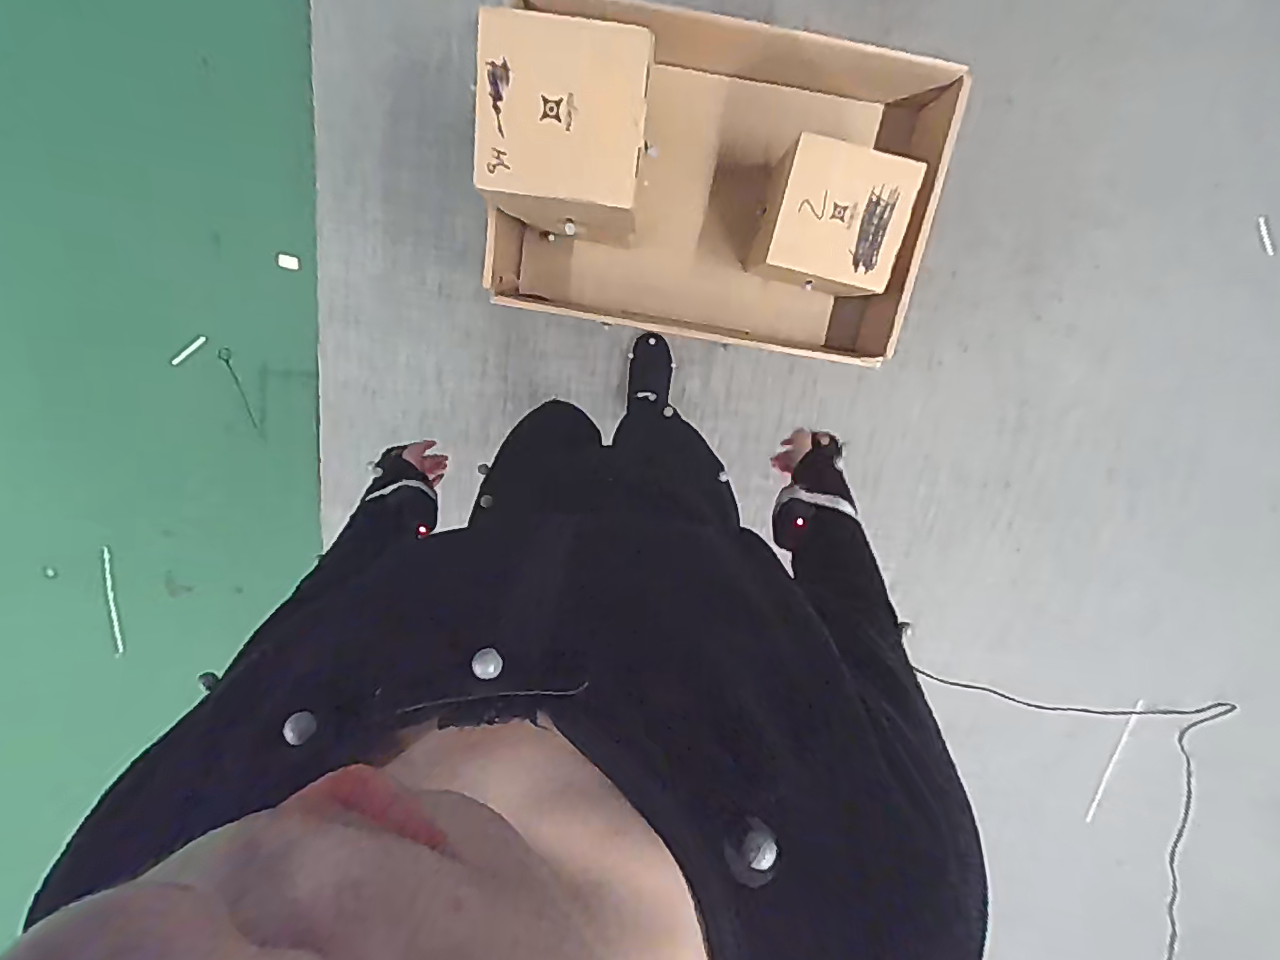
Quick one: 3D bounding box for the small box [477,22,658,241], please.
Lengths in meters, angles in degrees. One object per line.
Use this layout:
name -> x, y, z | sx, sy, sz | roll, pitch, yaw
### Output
small box -> -0.078, -0.390, 0.640 | 0.179, 0.176, 0.168 | 8, 105, -1
